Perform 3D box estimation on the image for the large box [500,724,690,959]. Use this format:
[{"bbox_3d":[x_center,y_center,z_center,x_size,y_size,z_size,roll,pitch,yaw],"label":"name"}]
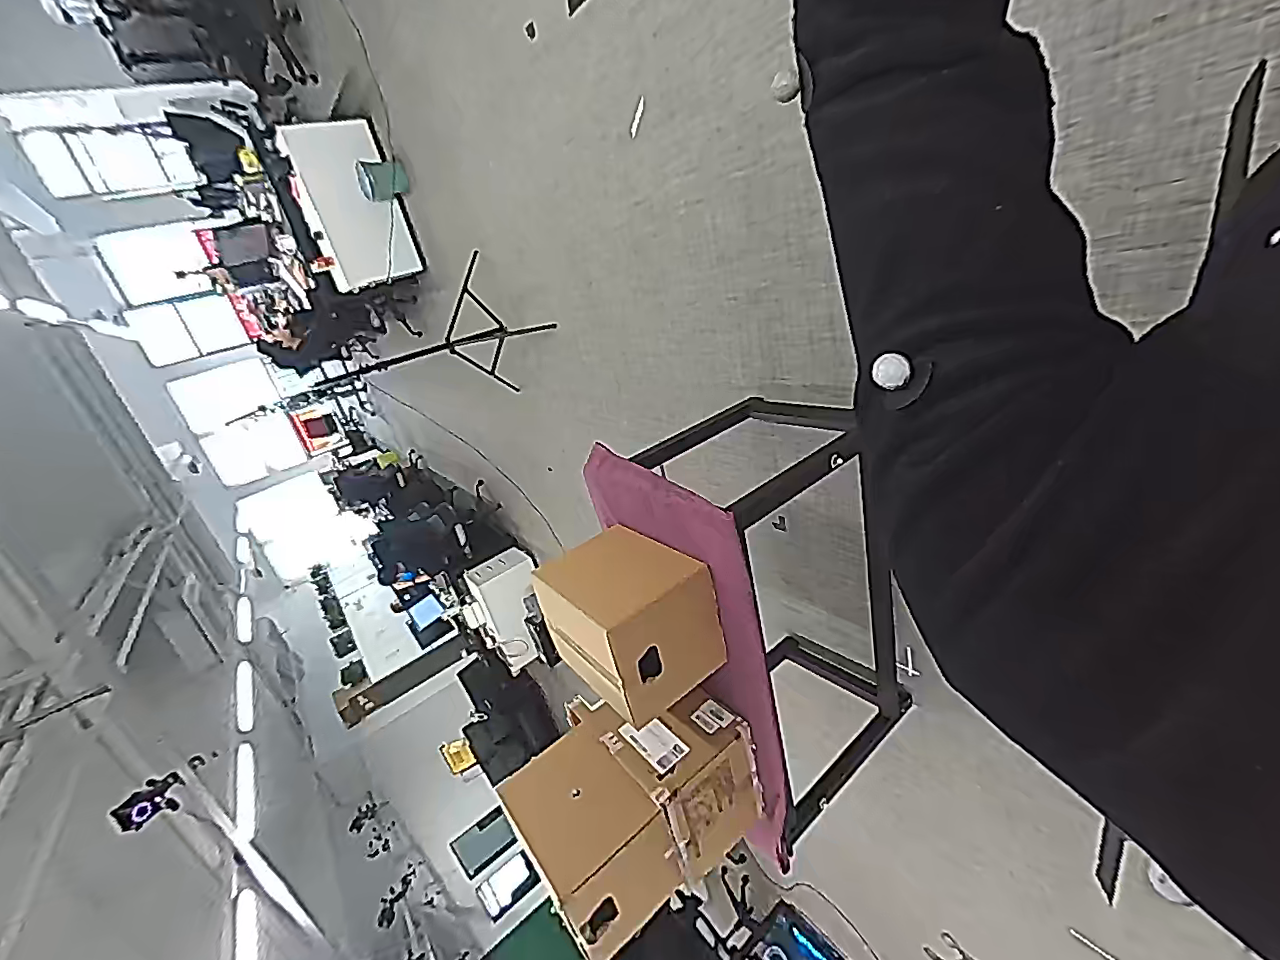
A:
[{"bbox_3d":[-0.128,0.974,1.496,0.408,0.320,0.320,17,130,52],"label":"large box"}]
